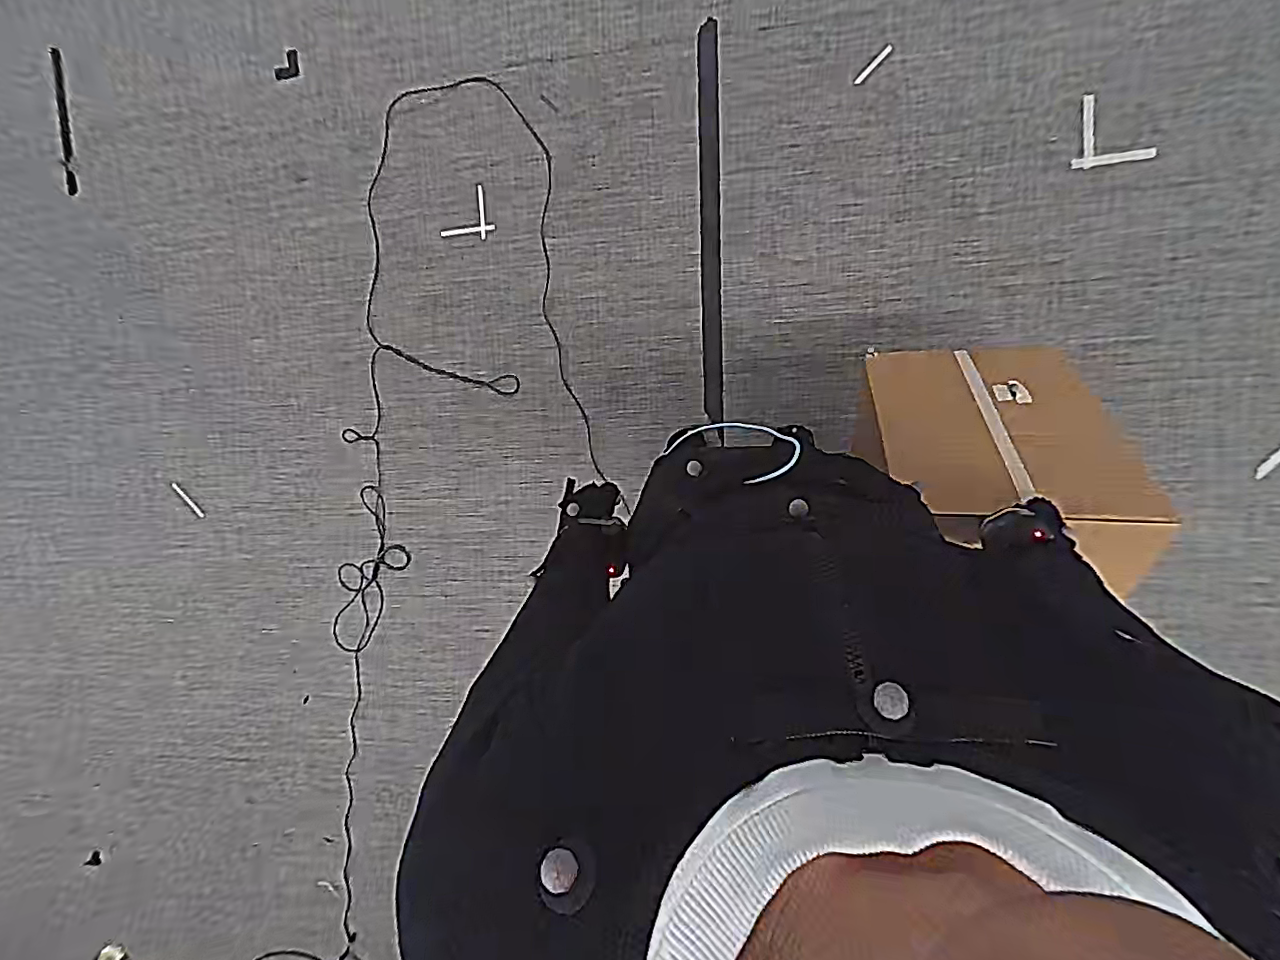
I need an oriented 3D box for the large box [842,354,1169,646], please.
[{"bbox_3d":[0.543,0.024,0.923,0.320,0.408,0.320,2,132,11],"label":"large box"}]
